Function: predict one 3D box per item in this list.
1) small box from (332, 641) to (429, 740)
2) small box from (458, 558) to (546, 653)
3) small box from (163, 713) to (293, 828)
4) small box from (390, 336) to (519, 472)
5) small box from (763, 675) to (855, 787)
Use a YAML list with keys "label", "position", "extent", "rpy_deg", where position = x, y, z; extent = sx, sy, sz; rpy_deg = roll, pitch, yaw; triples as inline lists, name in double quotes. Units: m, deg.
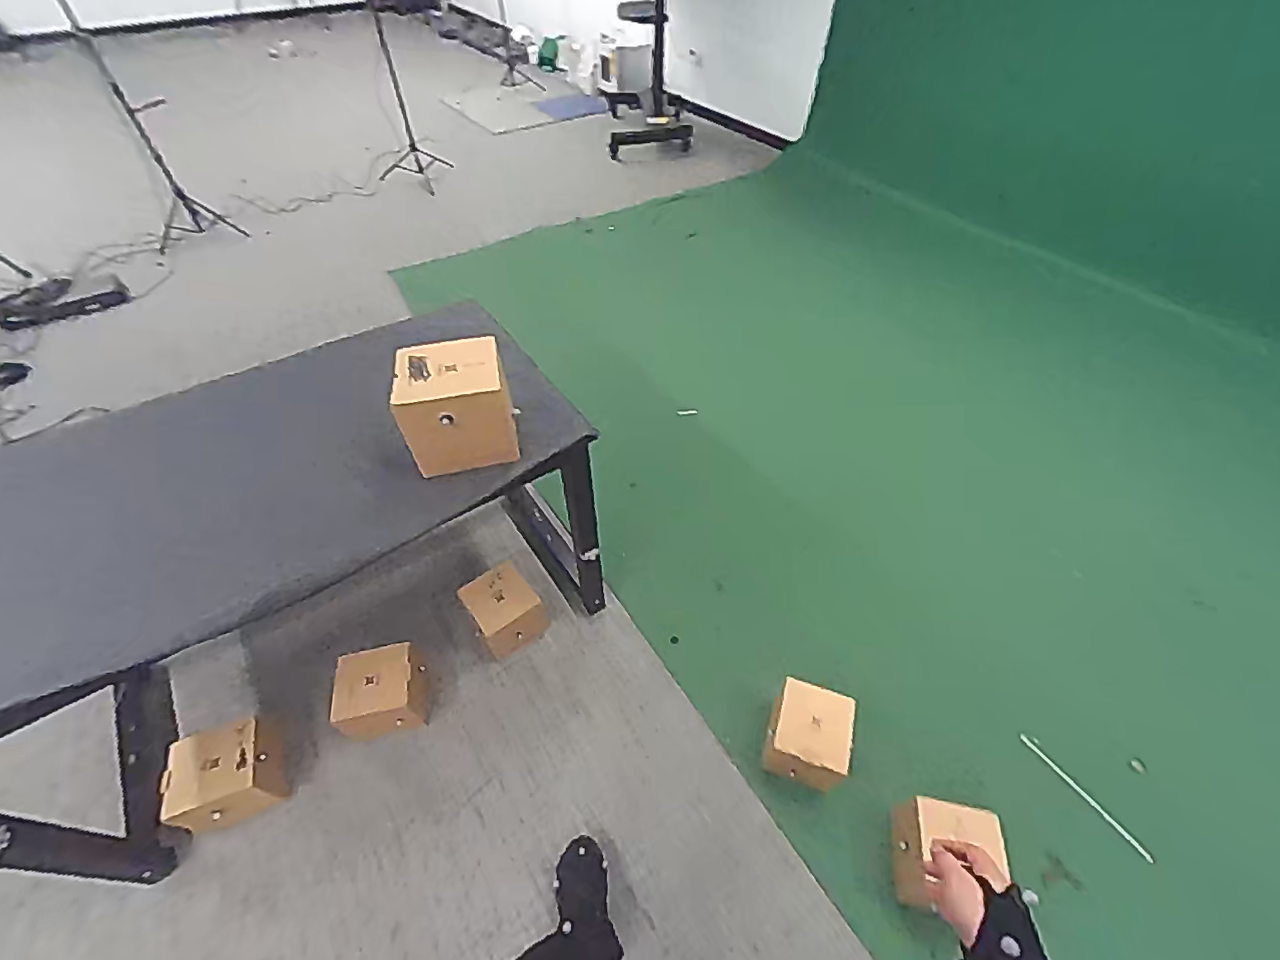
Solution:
- label: "small box"
  position: [-0.647, 0.534, 1.370]
  extent: [0.179, 0.176, 0.168]
  rpy_deg: [-12, 50, -8]
- label: "small box"
  position: [-0.380, 0.360, 1.515]
  extent: [0.168, 0.176, 0.179]
  rpy_deg: [-32, 57, -25]
- label: "small box"
  position: [-0.940, 0.675, 1.250]
  extent: [0.179, 0.176, 0.168]
  rpy_deg: [-18, 52, -14]
- label: "small box"
  position: [-0.326, -0.133, 0.975]
  extent: [0.179, 0.176, 0.168]
  rpy_deg: [-11, 48, -8]
- label: "small box"
  position: [0.407, 0.610, 1.312]
  extent: [0.168, 0.176, 0.179]
  rpy_deg: [16, 52, 12]
